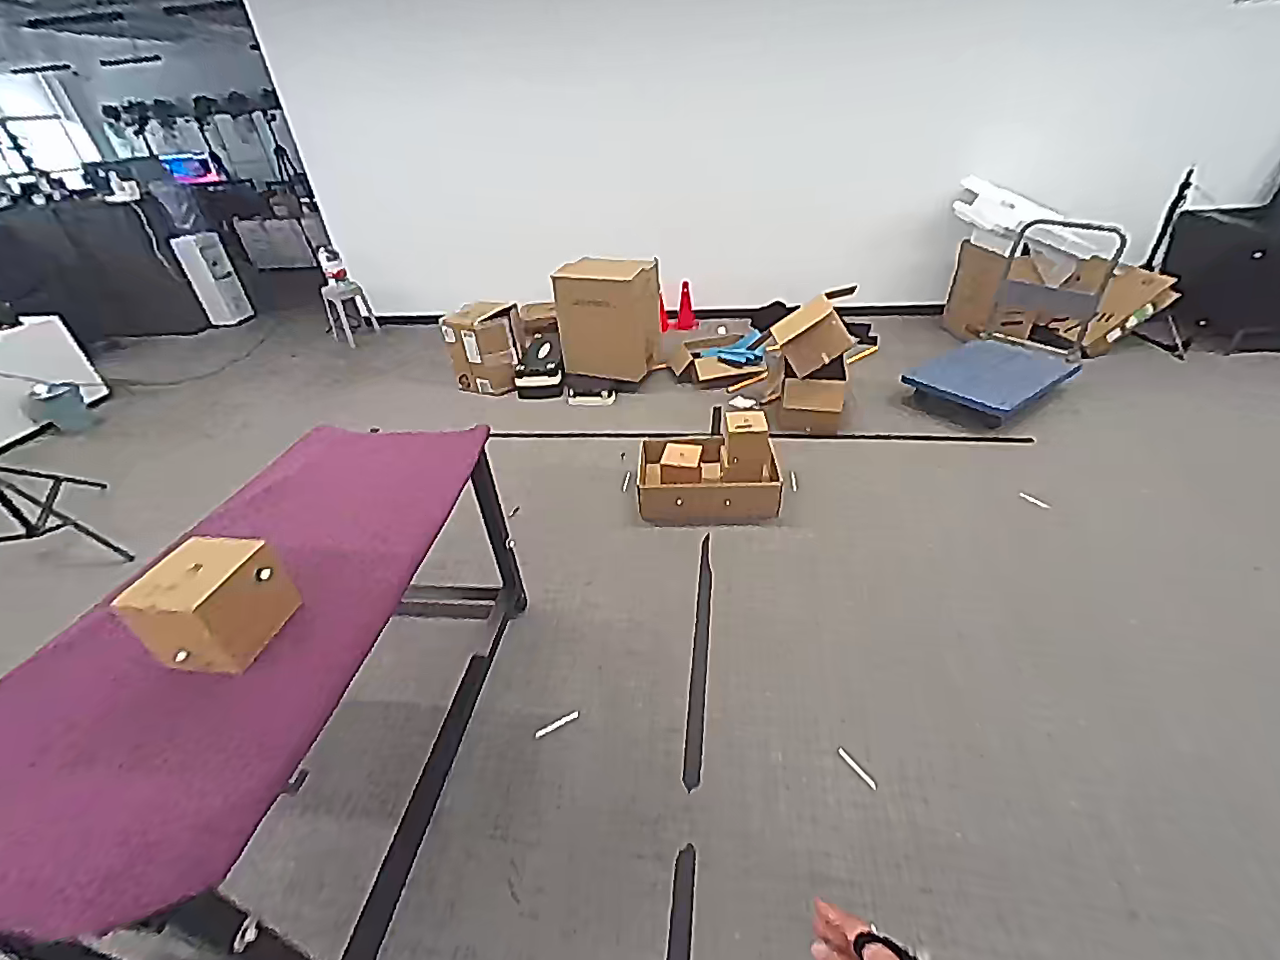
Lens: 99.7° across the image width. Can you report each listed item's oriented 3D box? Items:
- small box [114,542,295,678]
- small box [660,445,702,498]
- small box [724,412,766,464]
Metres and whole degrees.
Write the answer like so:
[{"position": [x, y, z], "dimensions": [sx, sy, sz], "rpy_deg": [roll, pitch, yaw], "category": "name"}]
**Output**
[{"position": [-0.782, 0.237, 1.000], "dimensions": [0.168, 0.176, 0.179], "rpy_deg": [1, 35, 9], "category": "small box"}, {"position": [0.188, -0.040, 2.471], "dimensions": [0.168, 0.176, 0.179], "rpy_deg": [5, 36, 12], "category": "small box"}, {"position": [0.455, -0.179, 2.348], "dimensions": [0.168, 0.176, 0.179], "rpy_deg": [-2, 34, 5], "category": "small box"}]
